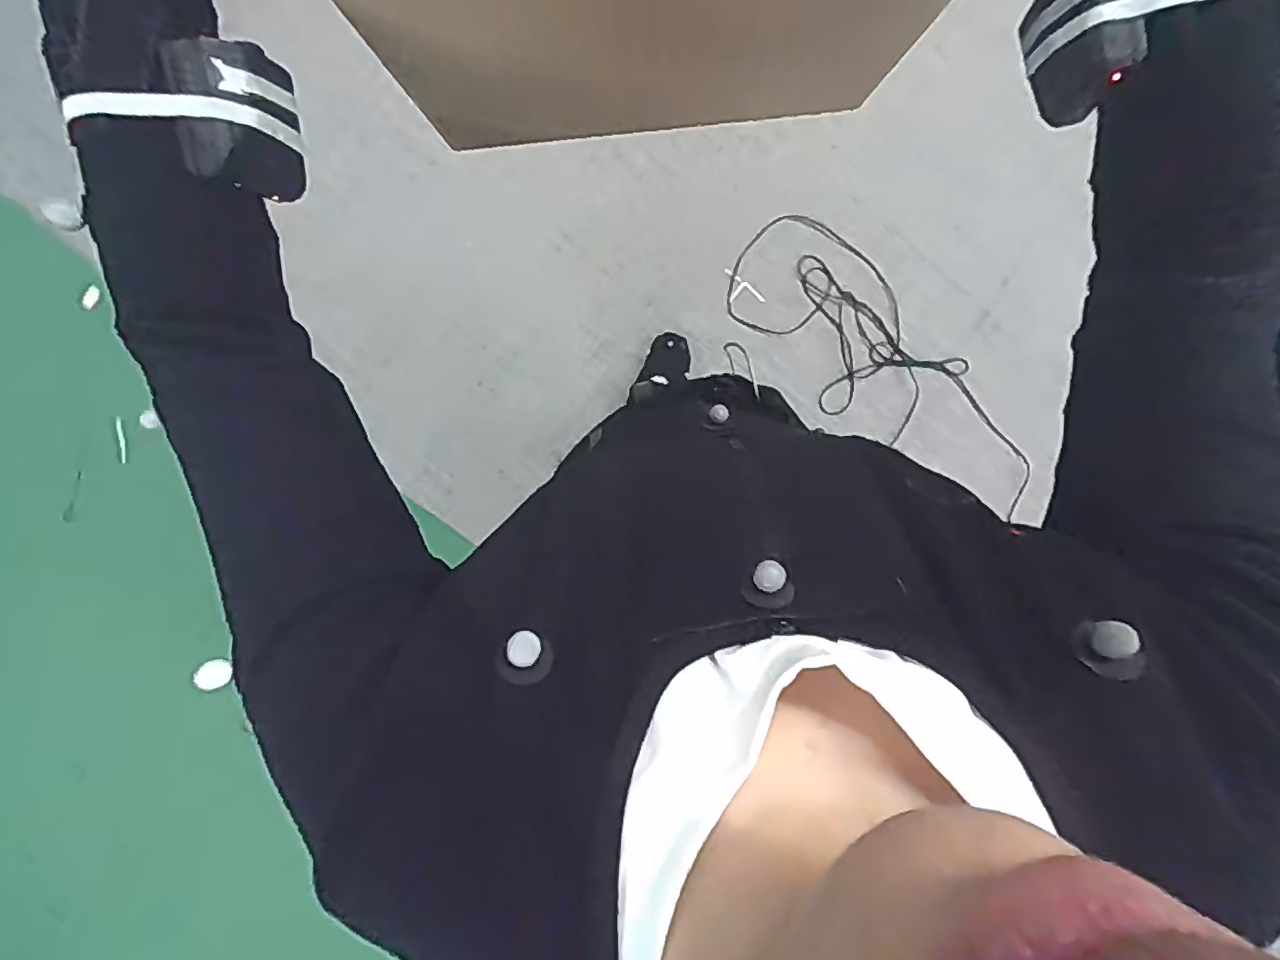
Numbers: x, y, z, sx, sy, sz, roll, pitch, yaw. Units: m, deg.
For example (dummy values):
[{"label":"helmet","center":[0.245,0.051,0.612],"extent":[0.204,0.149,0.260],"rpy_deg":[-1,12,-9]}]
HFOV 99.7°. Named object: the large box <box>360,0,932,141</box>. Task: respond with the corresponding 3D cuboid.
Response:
[{"label":"large box","center":[0.003,-0.470,0.353],"extent":[0.408,0.320,0.320],"rpy_deg":[-6,102,0]}]
